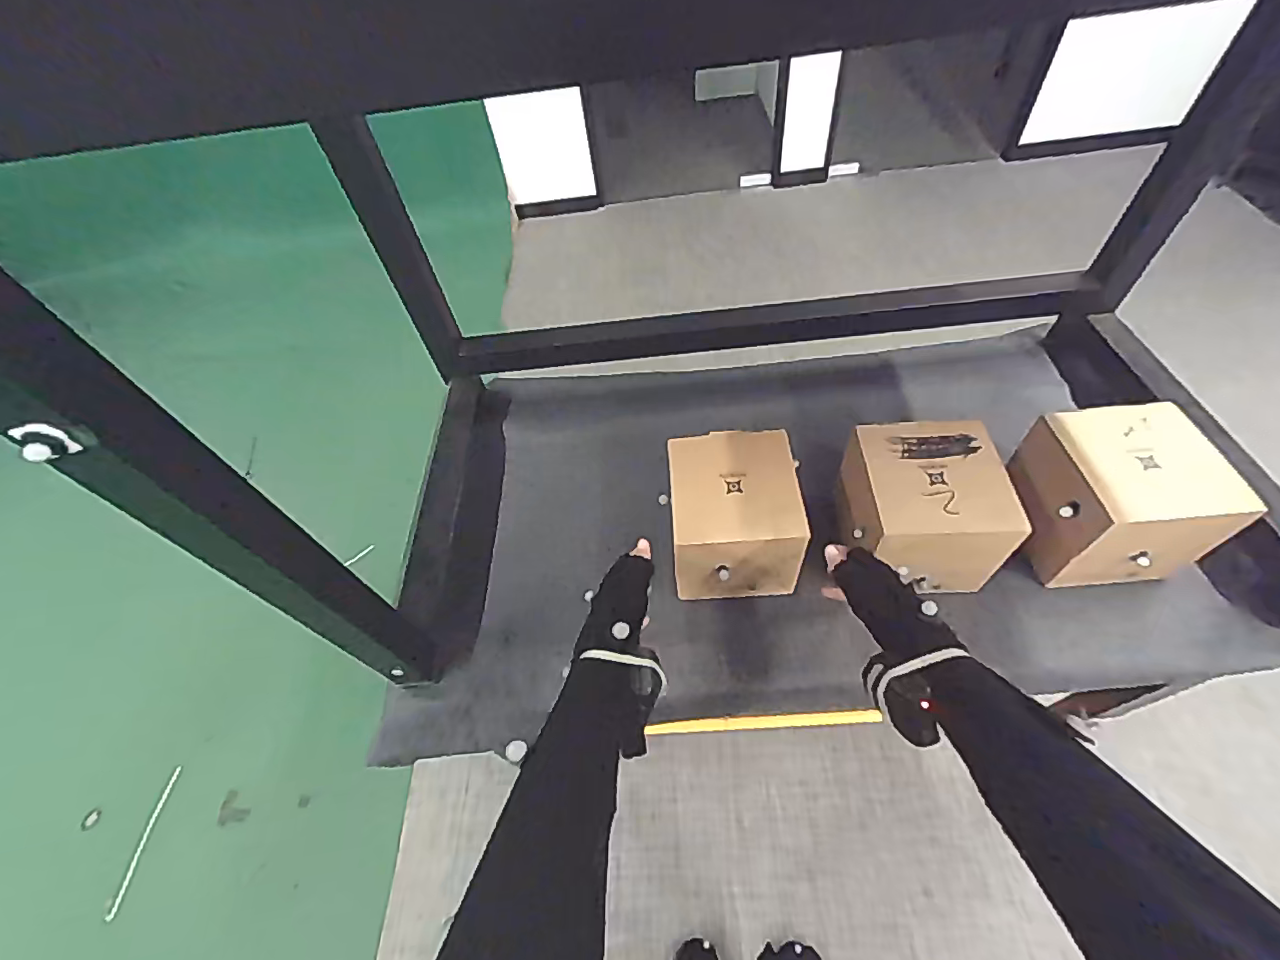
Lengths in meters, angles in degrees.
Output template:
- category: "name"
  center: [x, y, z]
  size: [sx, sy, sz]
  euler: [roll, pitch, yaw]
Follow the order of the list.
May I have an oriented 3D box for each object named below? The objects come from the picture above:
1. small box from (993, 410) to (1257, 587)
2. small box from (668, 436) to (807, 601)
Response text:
- category: "small box"
  center: [0.620, 0.032, 0.725]
  size: [0.168, 0.176, 0.179]
  euler: [-5, 52, 4]
- category: "small box"
  center: [0.130, 0.062, 0.770]
  size: [0.168, 0.176, 0.179]
  euler: [-5, 52, 4]
